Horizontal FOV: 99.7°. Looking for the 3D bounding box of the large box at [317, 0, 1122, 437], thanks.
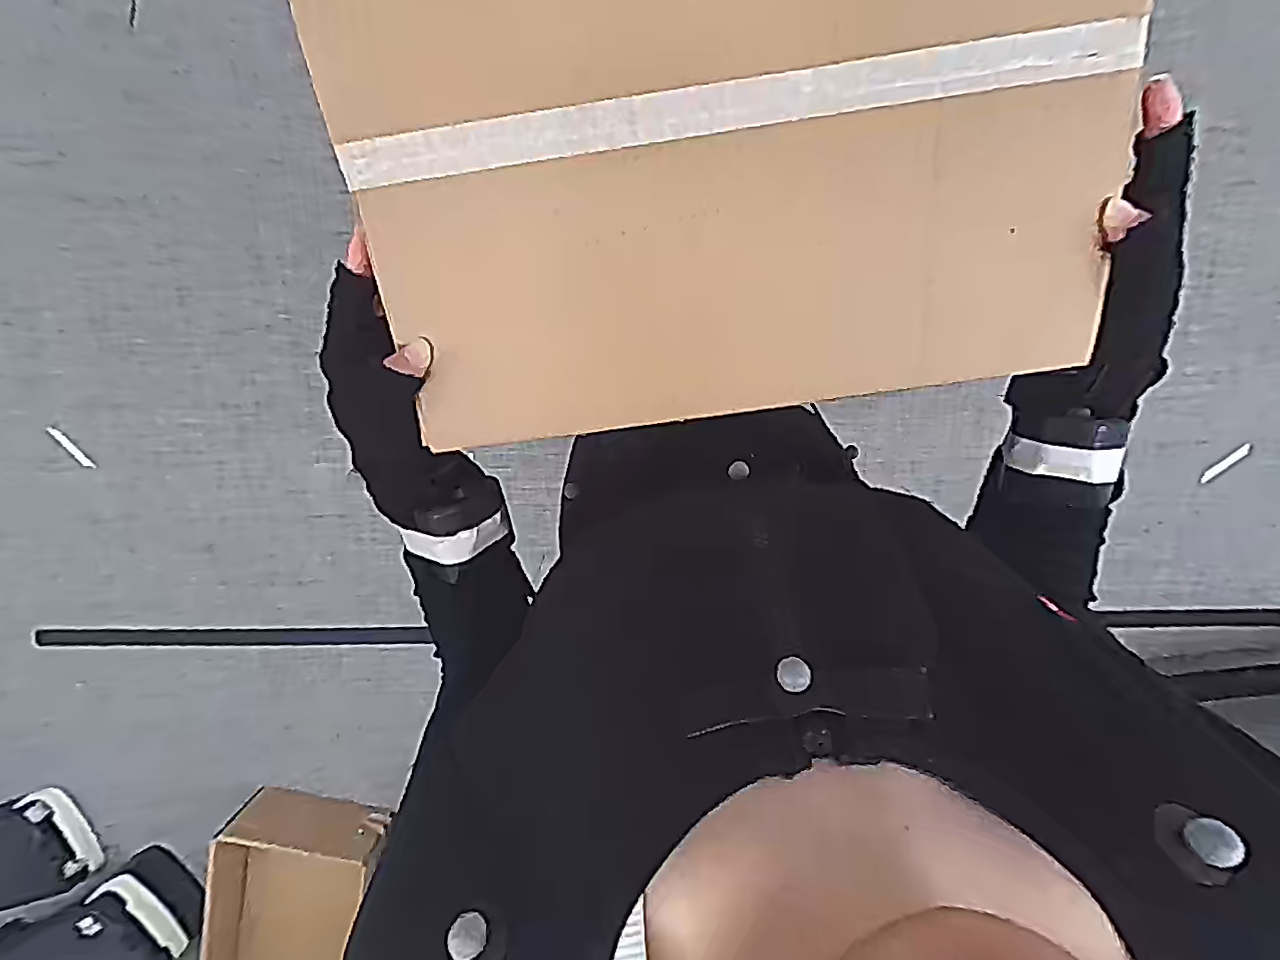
[{"bbox_3d":[0.043,-0.248,0.425,0.408,0.320,0.320,-8,112,2],"label":"large box"}]
